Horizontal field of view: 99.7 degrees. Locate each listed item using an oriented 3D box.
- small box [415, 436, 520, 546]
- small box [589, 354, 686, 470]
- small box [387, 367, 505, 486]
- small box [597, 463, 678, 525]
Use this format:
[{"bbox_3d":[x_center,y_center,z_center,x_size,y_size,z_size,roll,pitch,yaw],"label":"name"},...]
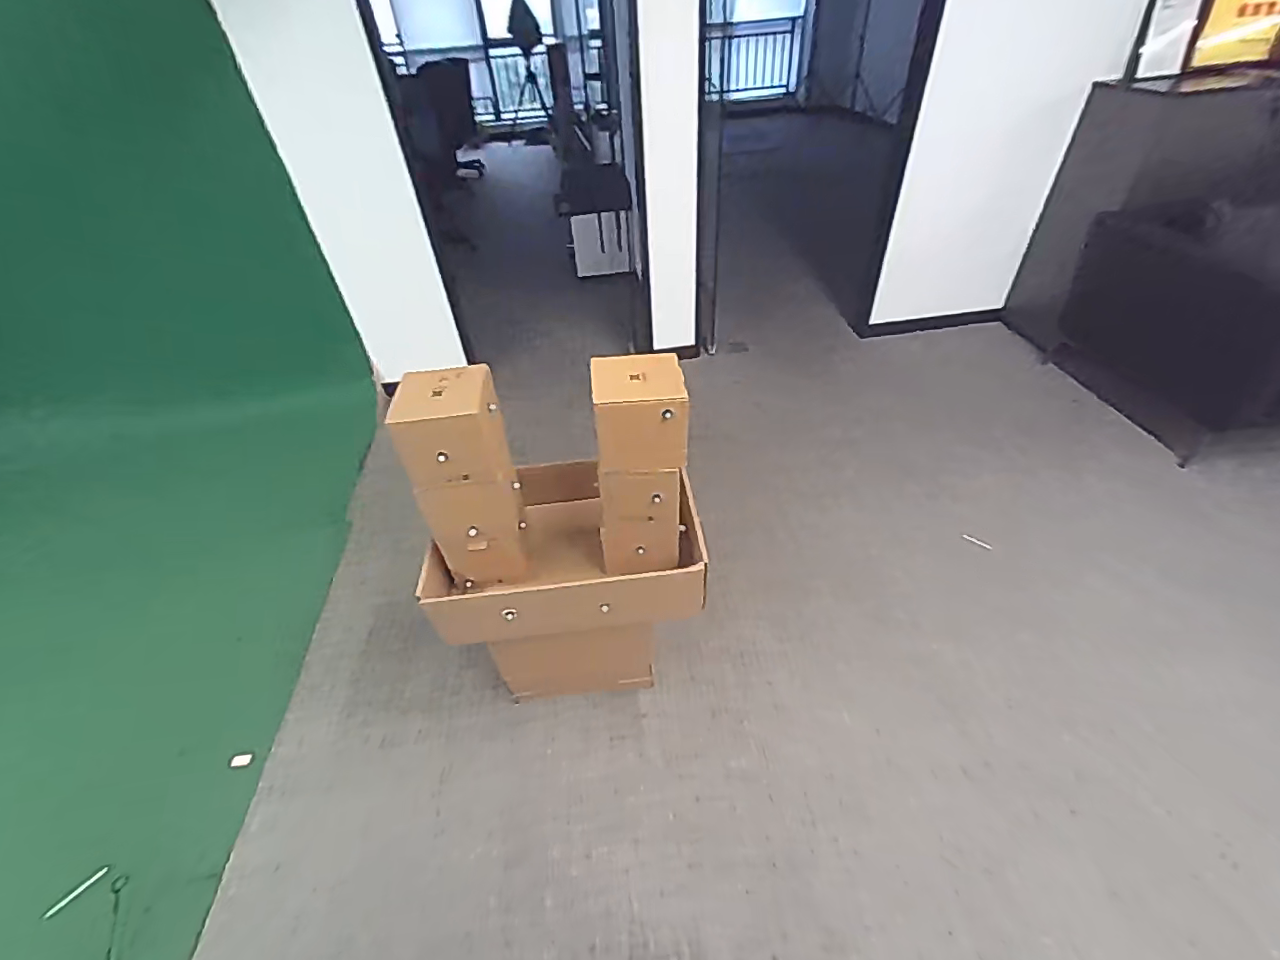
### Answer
[{"bbox_3d":[-0.366,0.024,1.184,0.179,0.176,0.168,-8,42,-3],"label":"small box"},{"bbox_3d":[-0.006,-0.133,1.082,0.179,0.176,0.168,-5,42,-3],"label":"small box"},{"bbox_3d":[-0.373,-0.102,1.076,0.168,0.176,0.179,-6,42,-2],"label":"small box"},{"bbox_3d":[-0.001,-0.014,1.192,0.168,0.176,0.179,-2,41,1],"label":"small box"}]
